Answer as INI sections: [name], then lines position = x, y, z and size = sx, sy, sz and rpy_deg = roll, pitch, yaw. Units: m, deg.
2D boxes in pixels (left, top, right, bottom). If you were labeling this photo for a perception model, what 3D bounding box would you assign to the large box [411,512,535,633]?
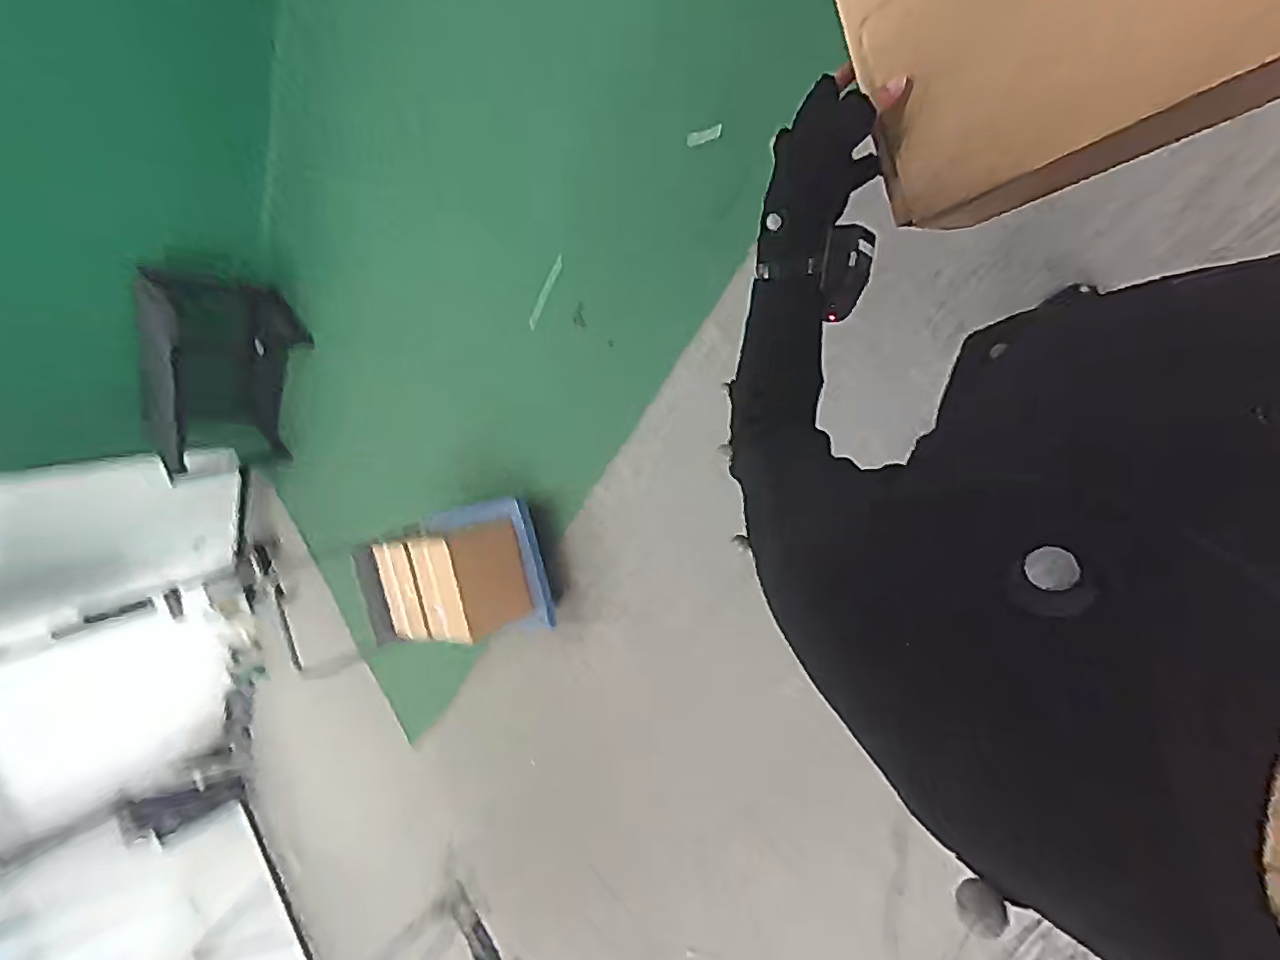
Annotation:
[large box]
position = -0.688, 0.373, 2.245
size = 0.320, 0.320, 0.408
rpy_deg = -7, 98, 42
